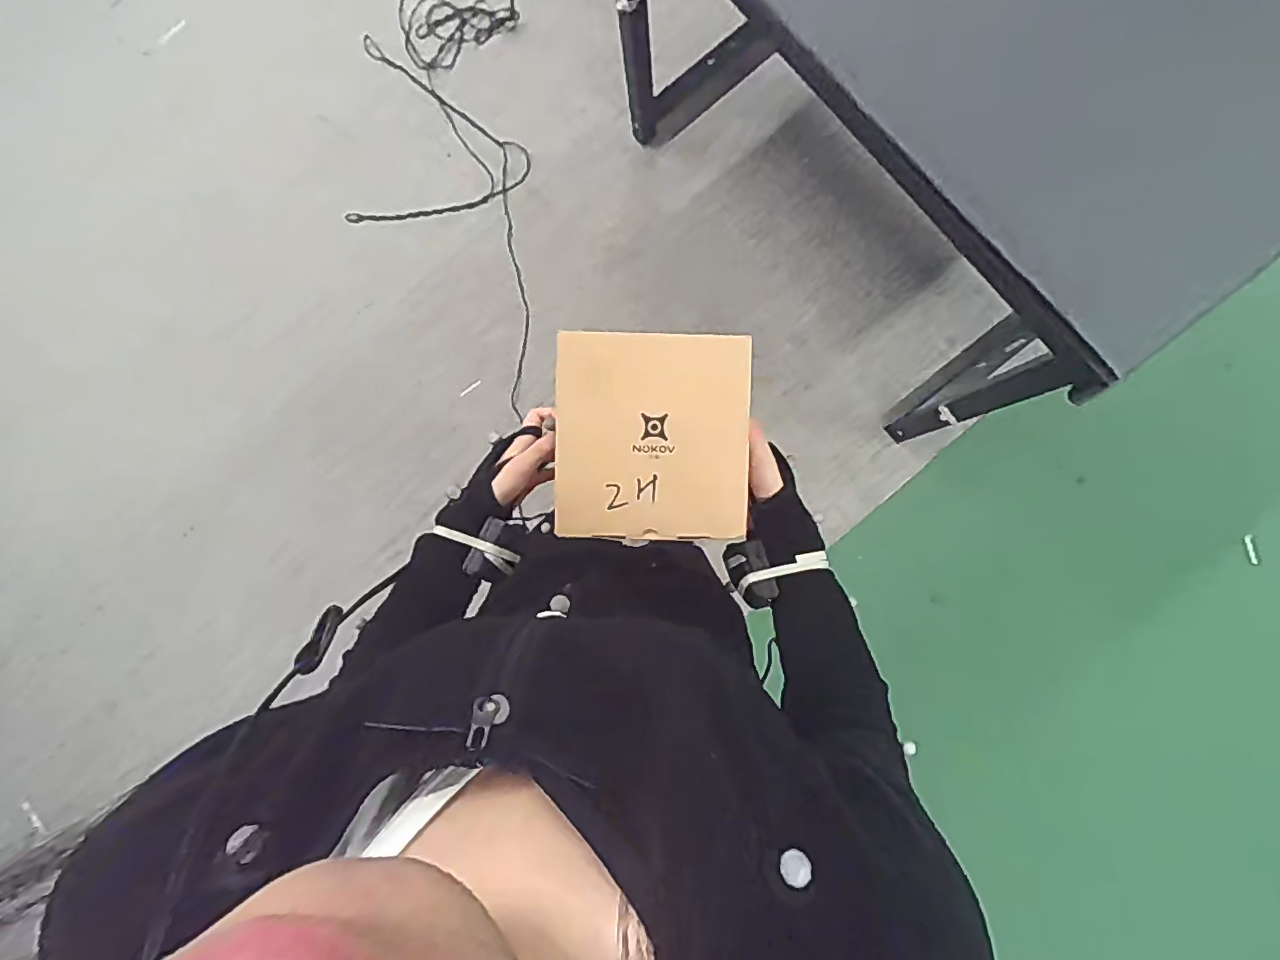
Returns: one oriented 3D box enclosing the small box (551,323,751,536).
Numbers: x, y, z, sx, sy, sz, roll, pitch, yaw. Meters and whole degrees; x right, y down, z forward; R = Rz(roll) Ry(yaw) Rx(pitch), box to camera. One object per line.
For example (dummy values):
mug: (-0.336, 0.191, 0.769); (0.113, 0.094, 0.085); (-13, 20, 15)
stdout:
small box: (0.006, -0.044, 0.528); (0.168, 0.176, 0.179); (1, 93, -2)
